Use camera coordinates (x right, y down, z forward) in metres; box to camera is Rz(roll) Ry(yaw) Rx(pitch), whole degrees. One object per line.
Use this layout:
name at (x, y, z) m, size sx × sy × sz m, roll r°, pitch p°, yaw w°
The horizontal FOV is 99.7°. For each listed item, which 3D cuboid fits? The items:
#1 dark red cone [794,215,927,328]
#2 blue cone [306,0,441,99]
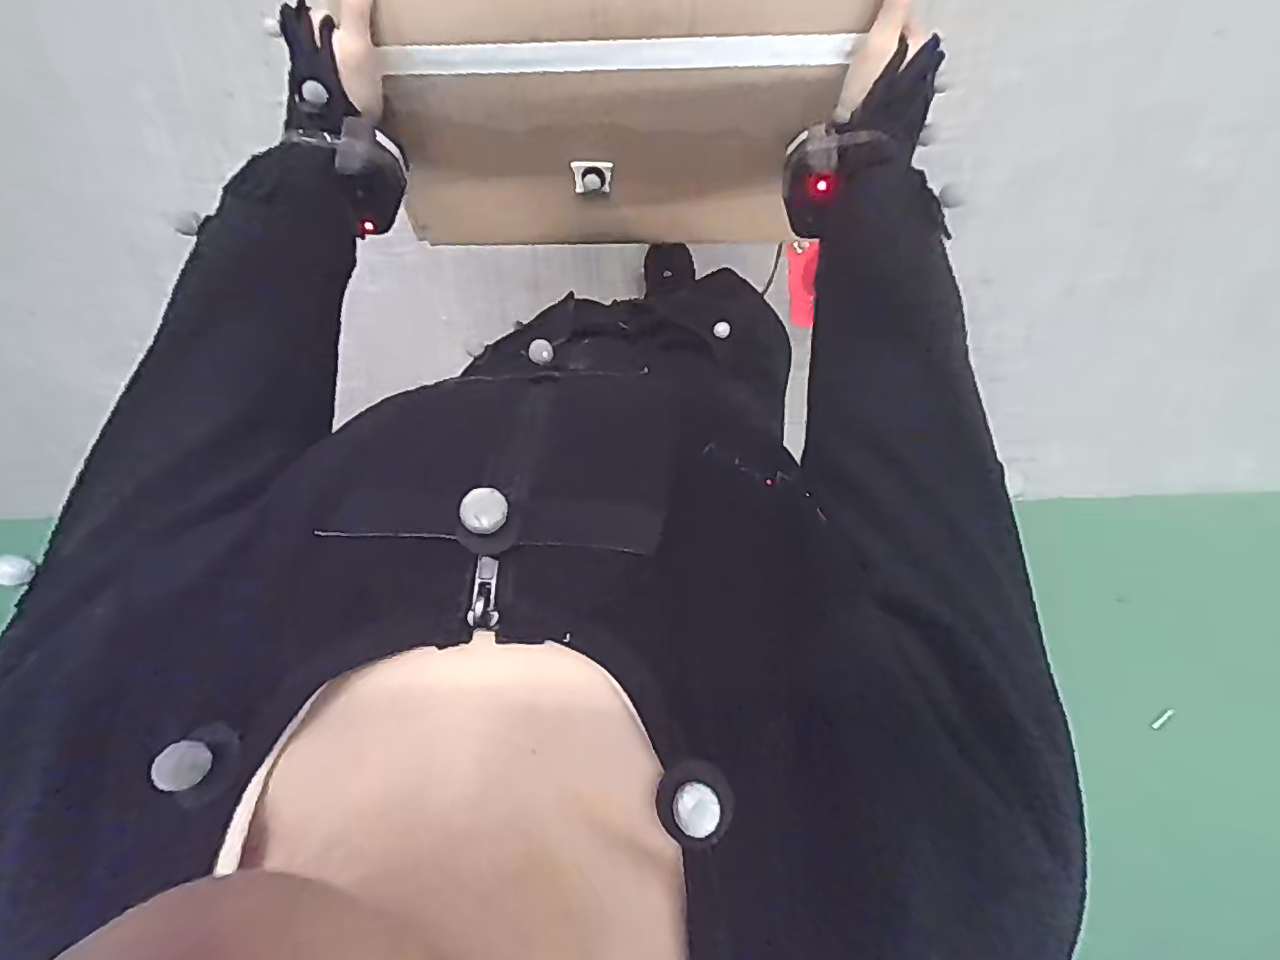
dark red cone at (0.415, -0.370, 0.981) m, size 0.202 × 0.394 × 0.201 m, roll -8°, pitch 112°, yaw 8°
blue cone at (-0.514, -0.832, 0.934) m, size 0.192 × 0.380 × 0.193 m, roll -1°, pitch 109°, yaw 6°
